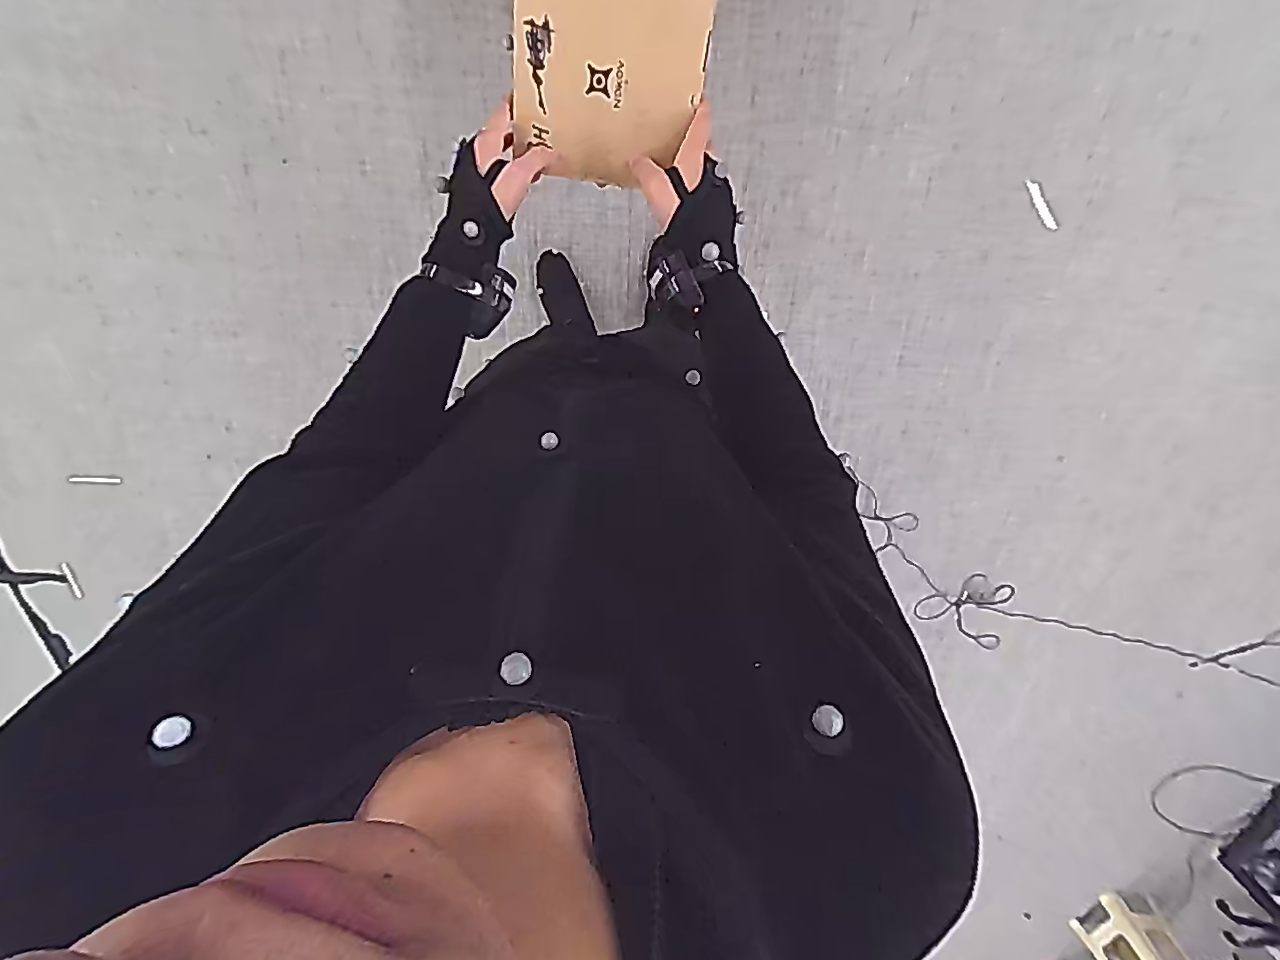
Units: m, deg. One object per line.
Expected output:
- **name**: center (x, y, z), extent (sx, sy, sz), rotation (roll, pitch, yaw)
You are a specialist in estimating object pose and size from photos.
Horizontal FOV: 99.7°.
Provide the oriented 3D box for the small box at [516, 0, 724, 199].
- **small box**: center (-0.029, -0.408, 0.561), extent (0.179, 0.176, 0.168), rotation (6, 125, -7)
